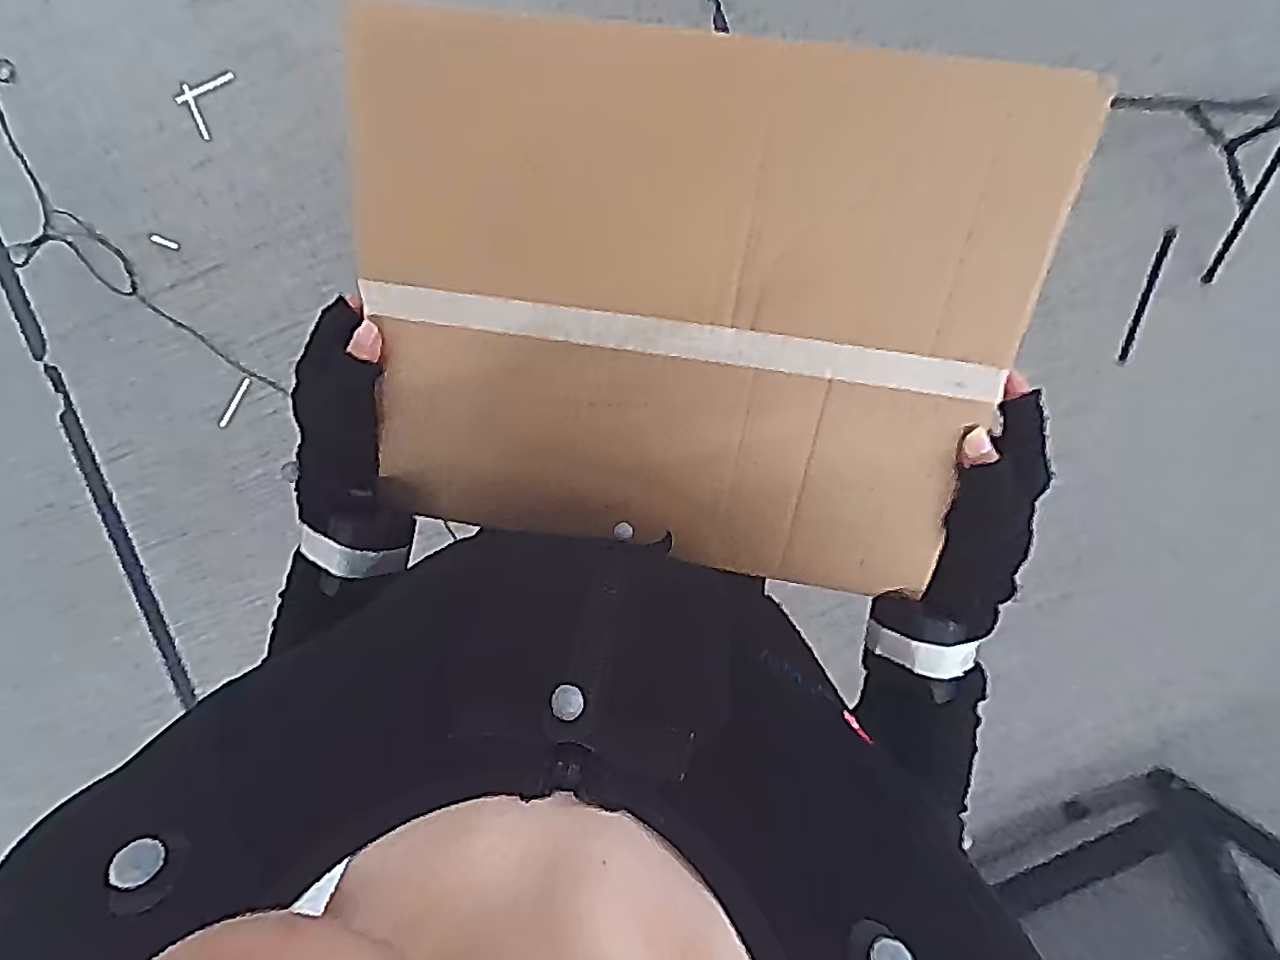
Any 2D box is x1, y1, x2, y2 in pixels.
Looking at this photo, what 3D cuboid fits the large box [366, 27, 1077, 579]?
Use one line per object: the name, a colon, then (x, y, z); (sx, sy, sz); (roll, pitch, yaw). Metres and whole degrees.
large box: (0.036, -0.147, 0.491); (0.408, 0.320, 0.320); (9, 114, 4)
